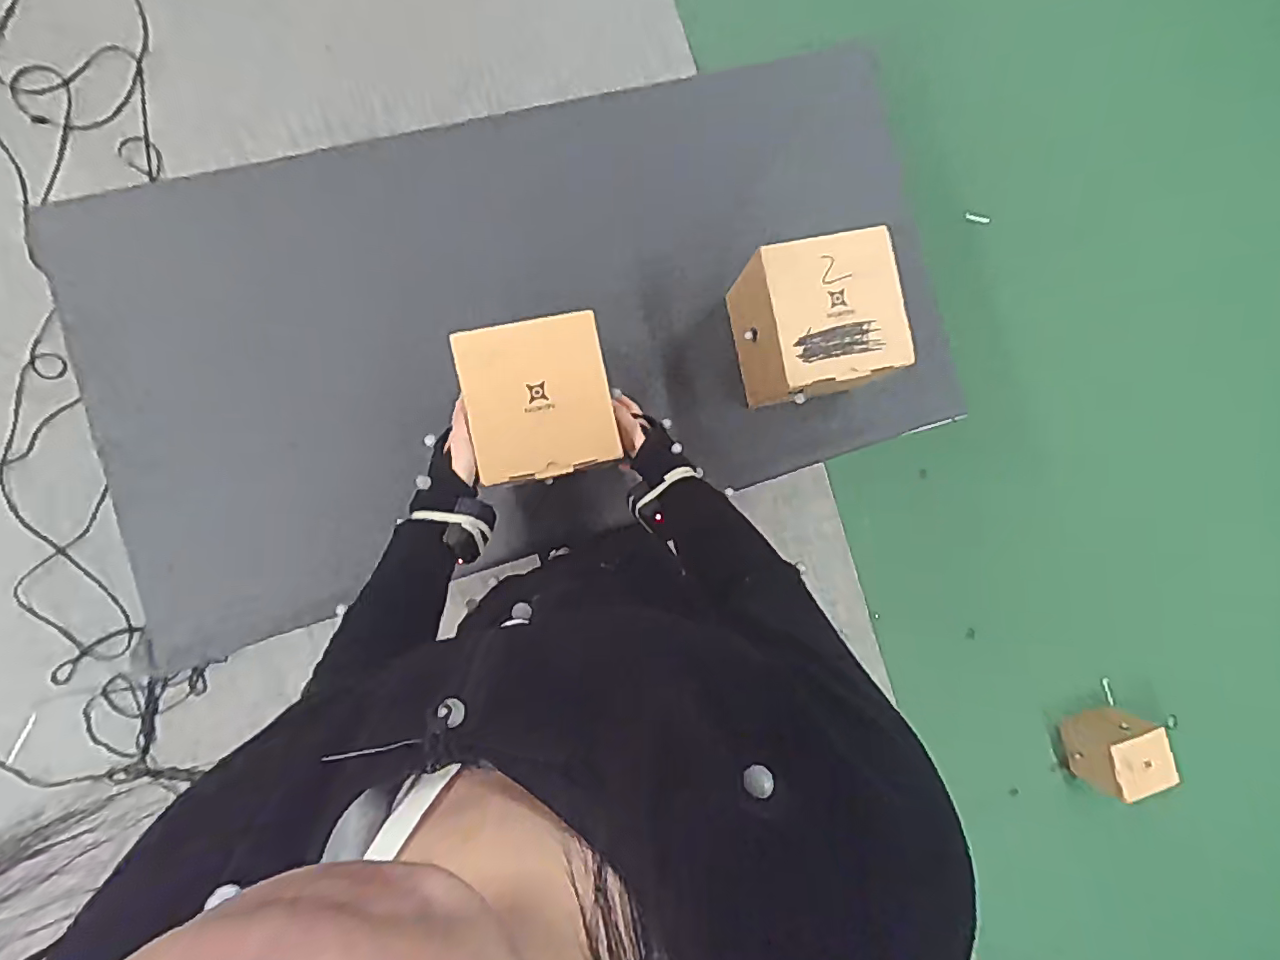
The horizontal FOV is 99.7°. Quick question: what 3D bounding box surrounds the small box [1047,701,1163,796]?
[{"bbox_3d":[1.354,0.776,1.584,0.179,0.176,0.168,-17,90,-7],"label":"small box"}]
